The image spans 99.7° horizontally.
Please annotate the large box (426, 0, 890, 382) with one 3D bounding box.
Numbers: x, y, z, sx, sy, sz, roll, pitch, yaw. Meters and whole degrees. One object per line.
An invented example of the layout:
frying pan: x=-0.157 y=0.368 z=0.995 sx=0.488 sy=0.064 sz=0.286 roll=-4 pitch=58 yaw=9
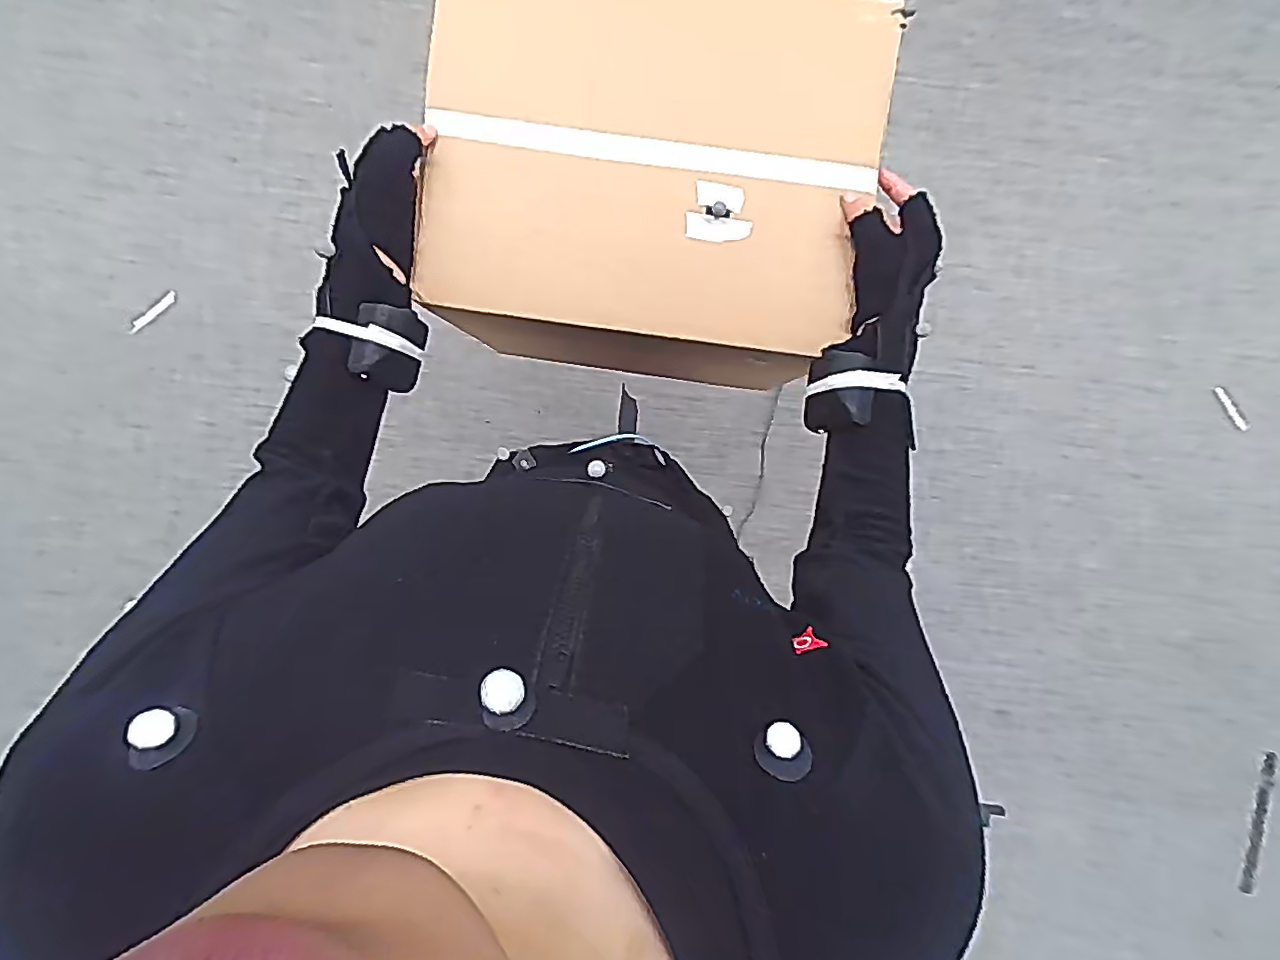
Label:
large box: x=0.010 y=-0.307 z=0.645 sx=0.408 sy=0.320 sz=0.320 roll=8 pitch=96 yaw=-1
